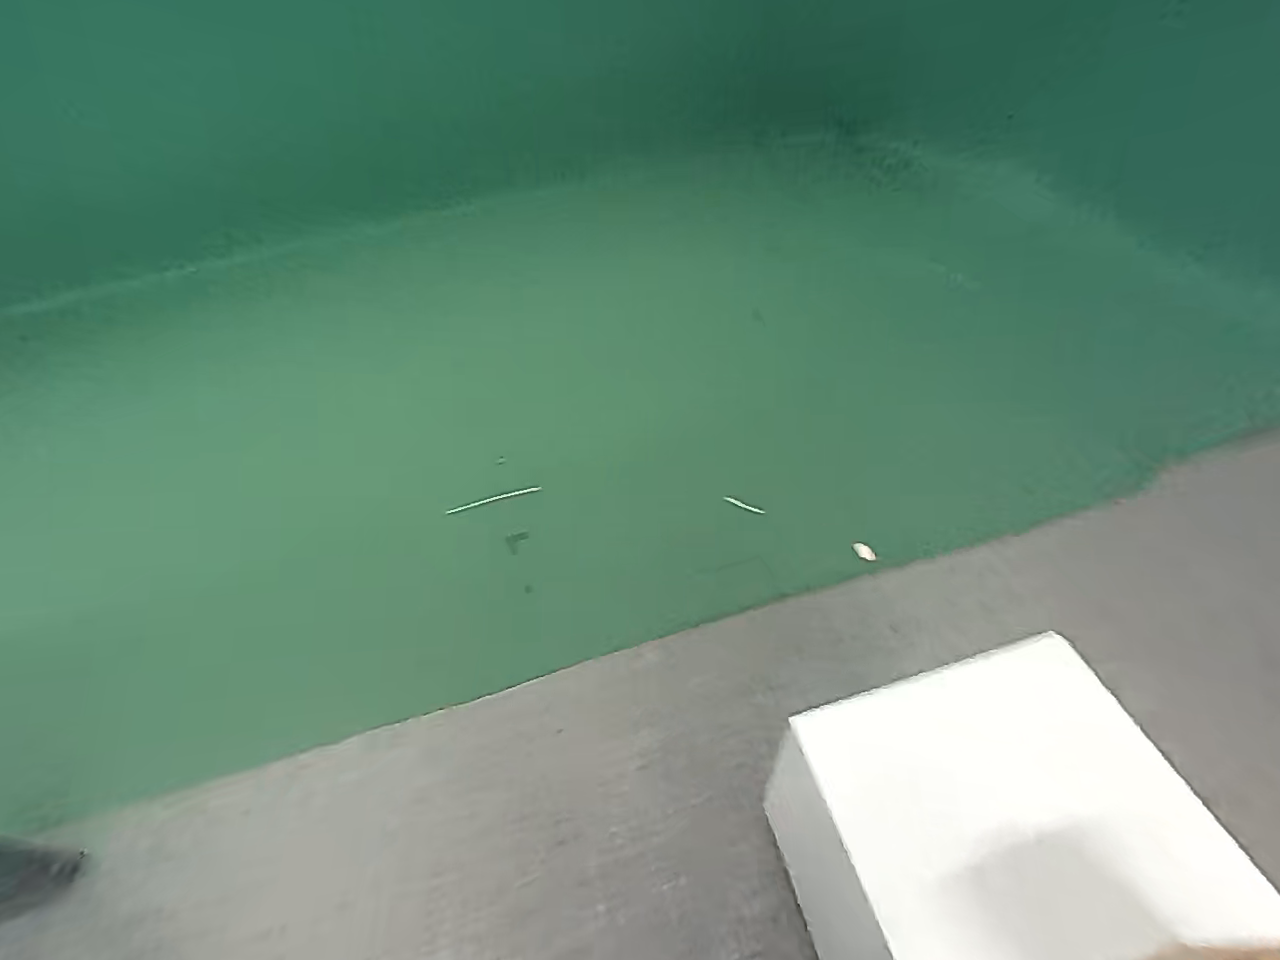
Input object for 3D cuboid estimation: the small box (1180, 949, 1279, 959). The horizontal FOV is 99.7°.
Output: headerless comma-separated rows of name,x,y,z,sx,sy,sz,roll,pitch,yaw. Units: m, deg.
small box,0.474,0.490,0.407,0.168,0.176,0.179,-17,49,-5
